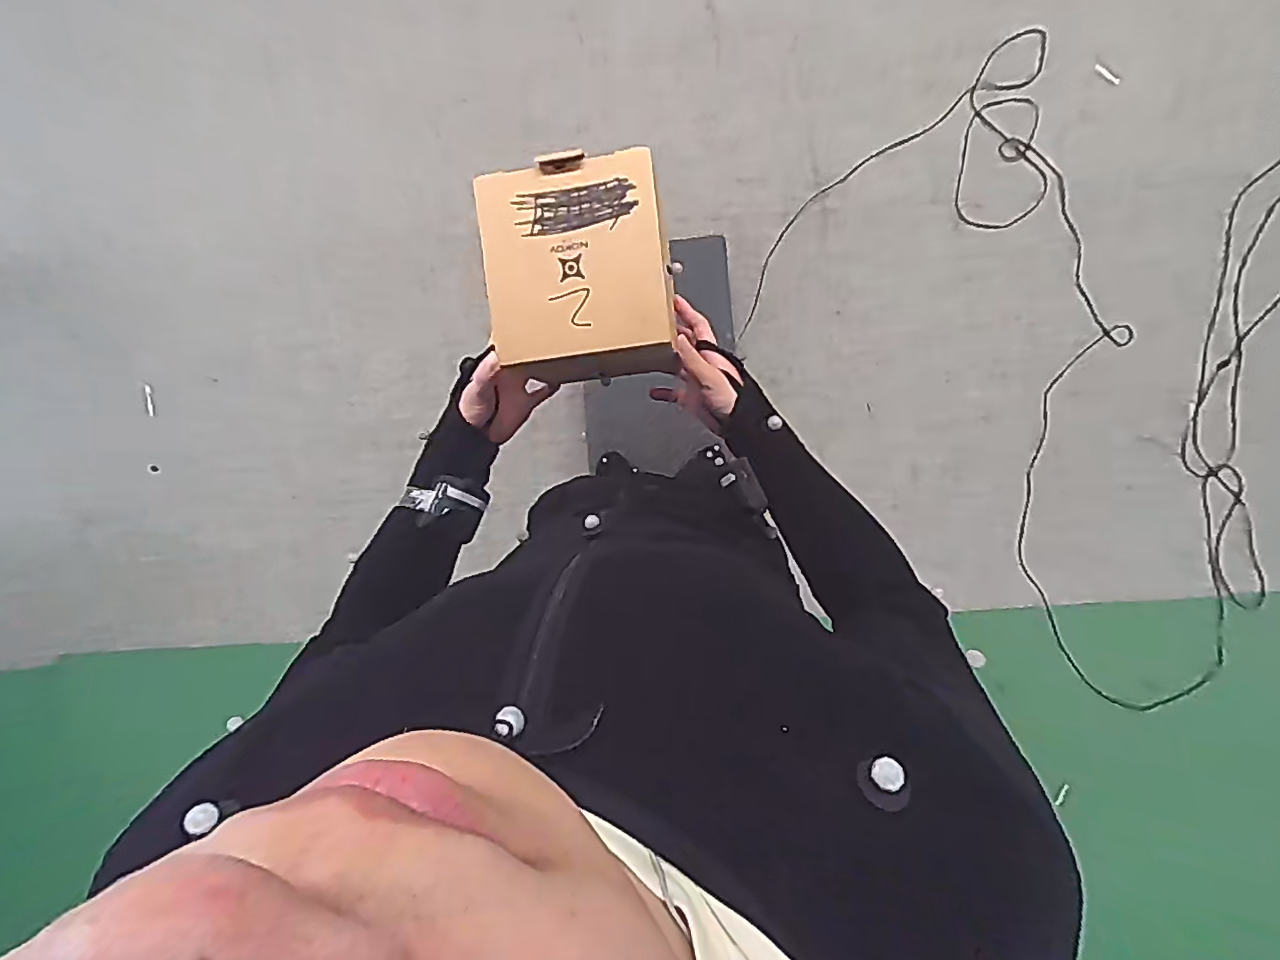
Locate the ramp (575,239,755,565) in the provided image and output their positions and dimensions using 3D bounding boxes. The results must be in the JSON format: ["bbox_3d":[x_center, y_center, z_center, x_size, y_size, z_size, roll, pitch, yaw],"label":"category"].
[{"bbox_3d":[0.067,-0.251,1.686,0.509,0.206,0.991,-6,95,4],"label":"ramp"}]
